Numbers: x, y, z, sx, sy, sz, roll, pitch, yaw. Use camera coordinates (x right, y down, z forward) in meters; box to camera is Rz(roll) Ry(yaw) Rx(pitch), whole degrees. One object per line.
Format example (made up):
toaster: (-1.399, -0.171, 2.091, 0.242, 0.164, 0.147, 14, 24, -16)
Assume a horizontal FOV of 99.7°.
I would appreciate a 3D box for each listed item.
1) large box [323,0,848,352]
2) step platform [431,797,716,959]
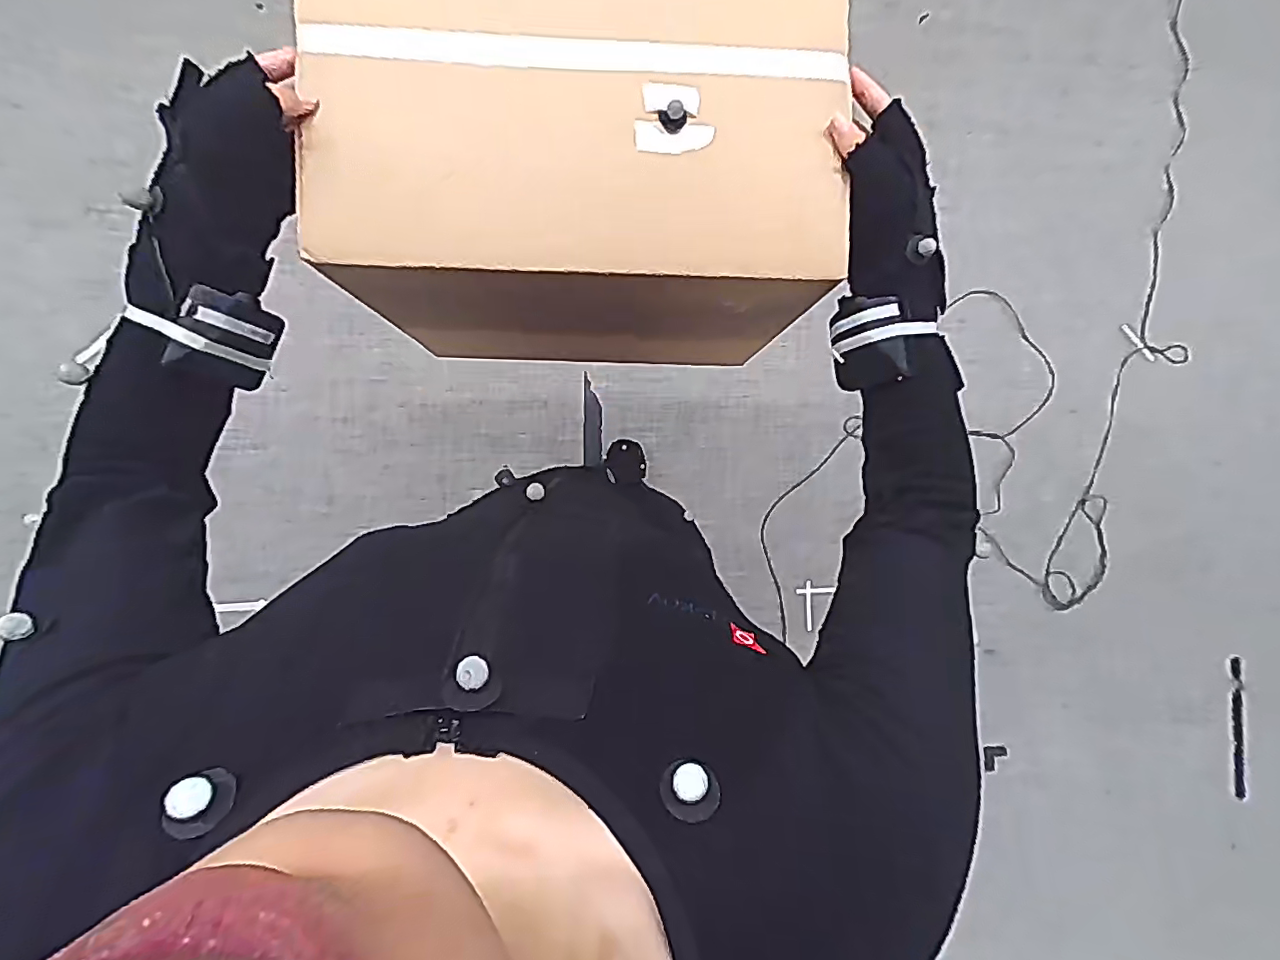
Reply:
large box: (-0.047, -0.322, 0.560, 0.408, 0.320, 0.320, 0, 91, -4)
step platform: (-0.156, 1.003, 1.340, 0.684, 0.204, 0.286, -3, 87, -2)
